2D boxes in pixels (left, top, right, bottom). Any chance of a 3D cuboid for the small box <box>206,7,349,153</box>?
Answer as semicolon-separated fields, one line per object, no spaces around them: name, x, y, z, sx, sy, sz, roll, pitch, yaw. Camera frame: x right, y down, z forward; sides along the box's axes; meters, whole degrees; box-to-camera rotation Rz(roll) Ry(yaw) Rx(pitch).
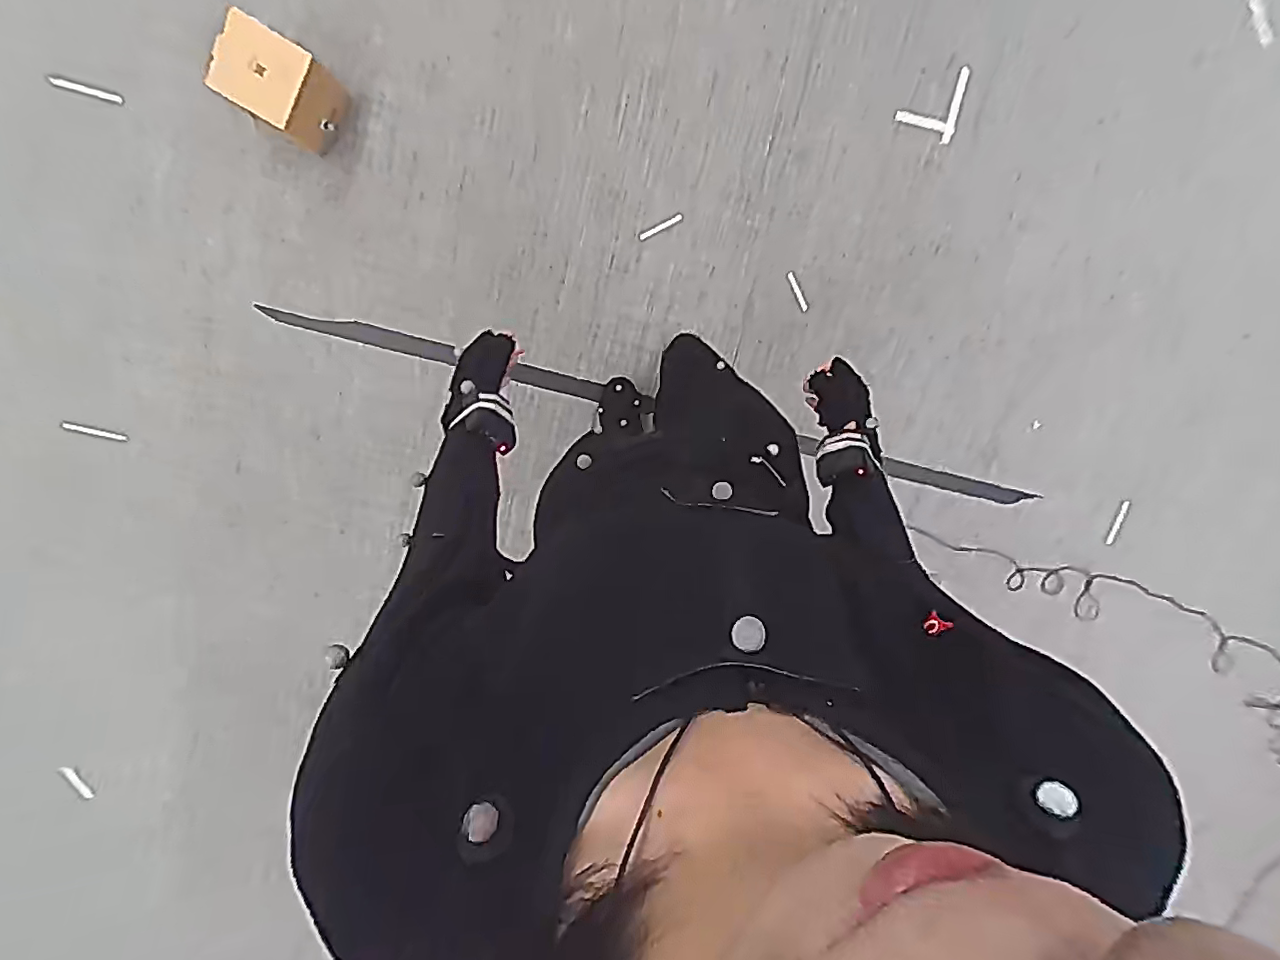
small box;-0.790;-0.867;1.196;0.179;0.176;0.168;28;100;-10
